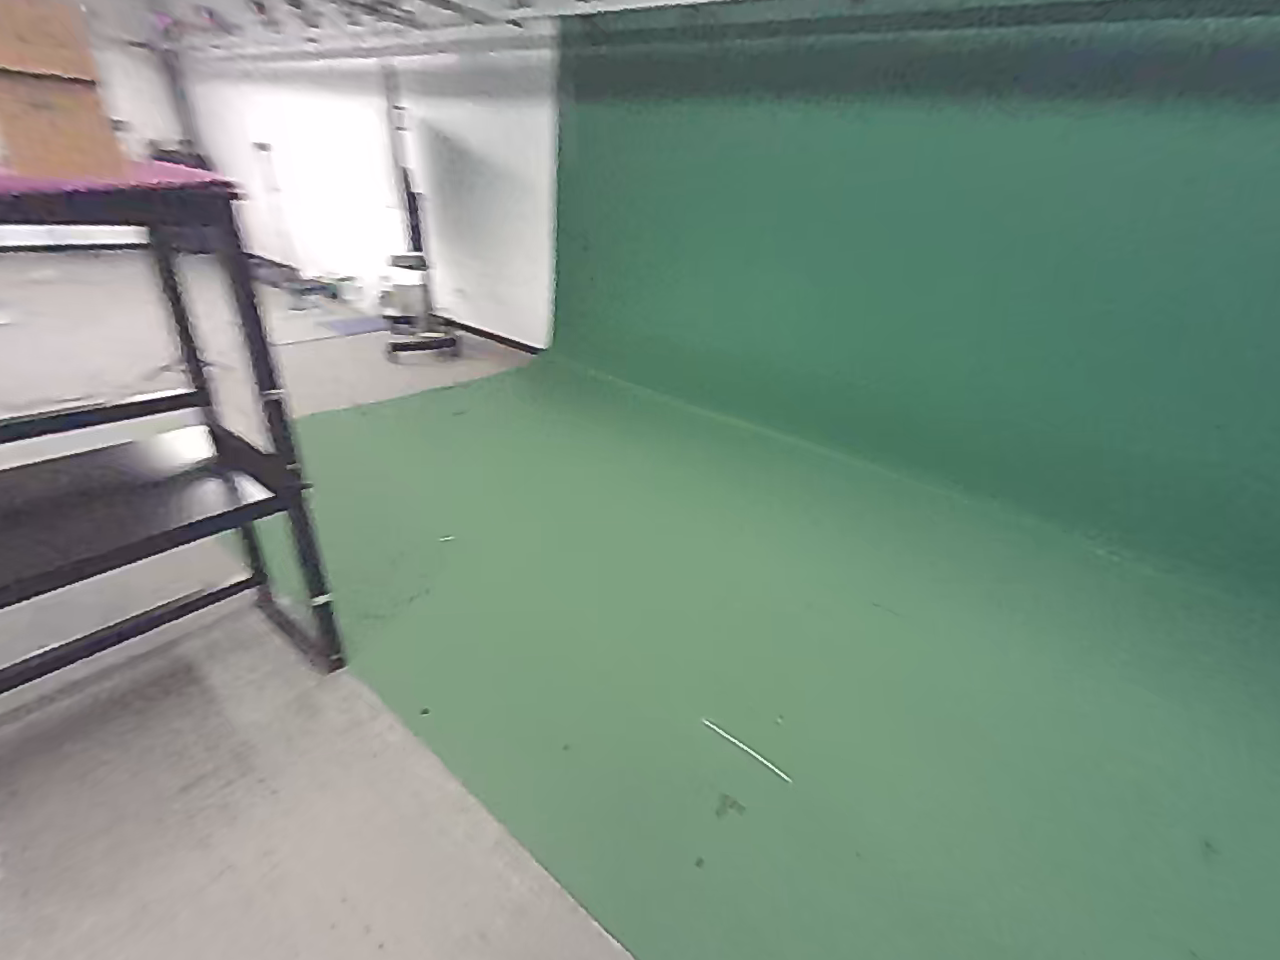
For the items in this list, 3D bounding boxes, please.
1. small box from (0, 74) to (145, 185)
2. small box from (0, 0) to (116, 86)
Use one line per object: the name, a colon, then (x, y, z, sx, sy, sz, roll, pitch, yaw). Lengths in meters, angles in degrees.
small box: (-1.113, -0.672, 1.046, 0.168, 0.176, 0.179, 27, 36, 36)
small box: (-1.092, -0.808, 0.959, 0.168, 0.176, 0.179, 24, 34, 32)
